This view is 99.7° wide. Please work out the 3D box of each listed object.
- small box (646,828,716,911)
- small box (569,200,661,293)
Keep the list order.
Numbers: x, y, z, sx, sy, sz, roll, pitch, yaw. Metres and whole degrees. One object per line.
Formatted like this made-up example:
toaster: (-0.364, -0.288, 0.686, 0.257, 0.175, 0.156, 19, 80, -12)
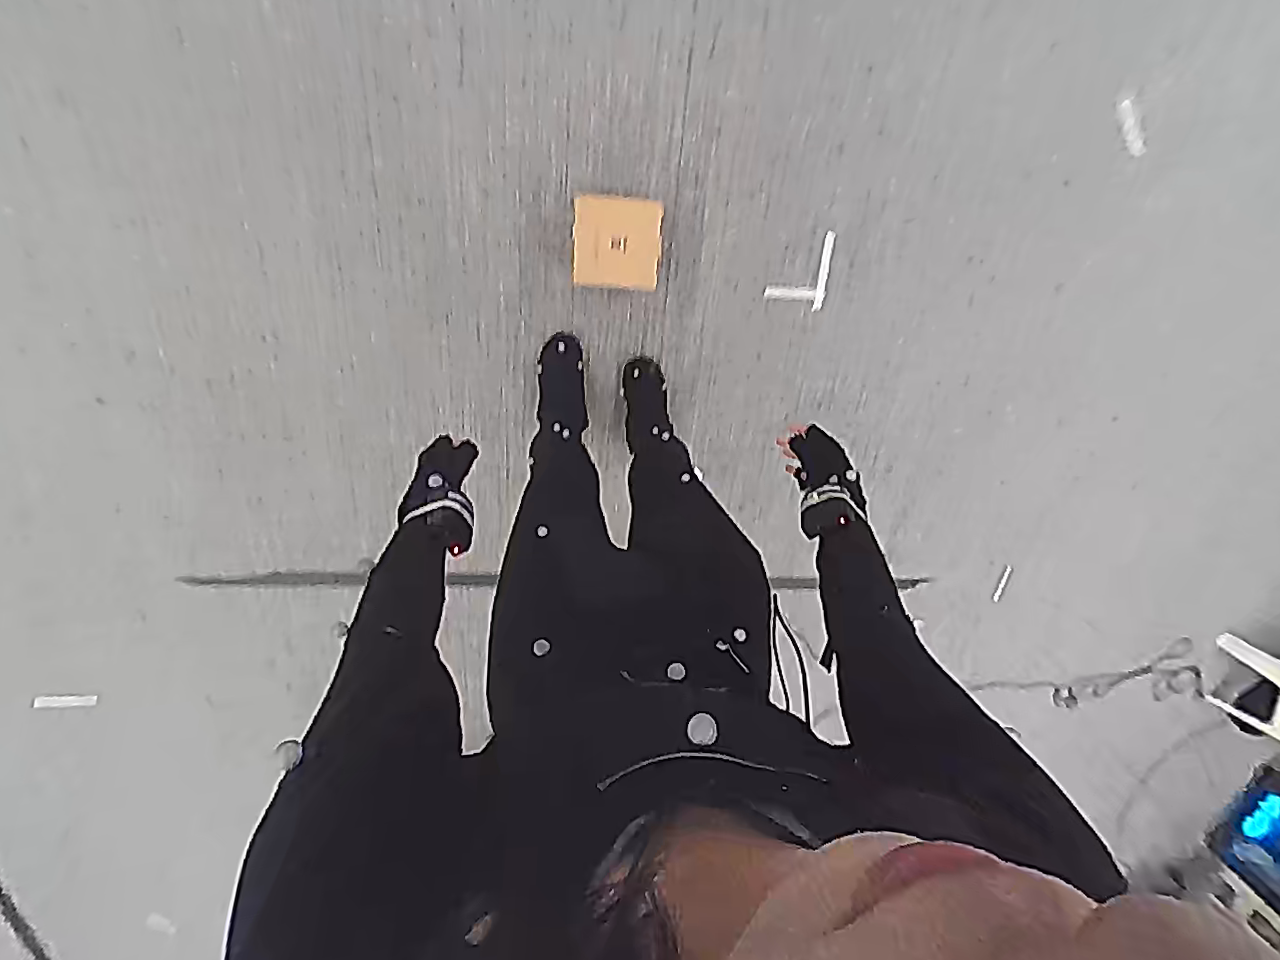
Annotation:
small box: (0.130, 1.293, 1.800, 0.179, 0.176, 0.168, 12, 112, -12)
small box: (-0.061, -0.502, 1.168, 0.179, 0.176, 0.168, 0, 113, -9)
